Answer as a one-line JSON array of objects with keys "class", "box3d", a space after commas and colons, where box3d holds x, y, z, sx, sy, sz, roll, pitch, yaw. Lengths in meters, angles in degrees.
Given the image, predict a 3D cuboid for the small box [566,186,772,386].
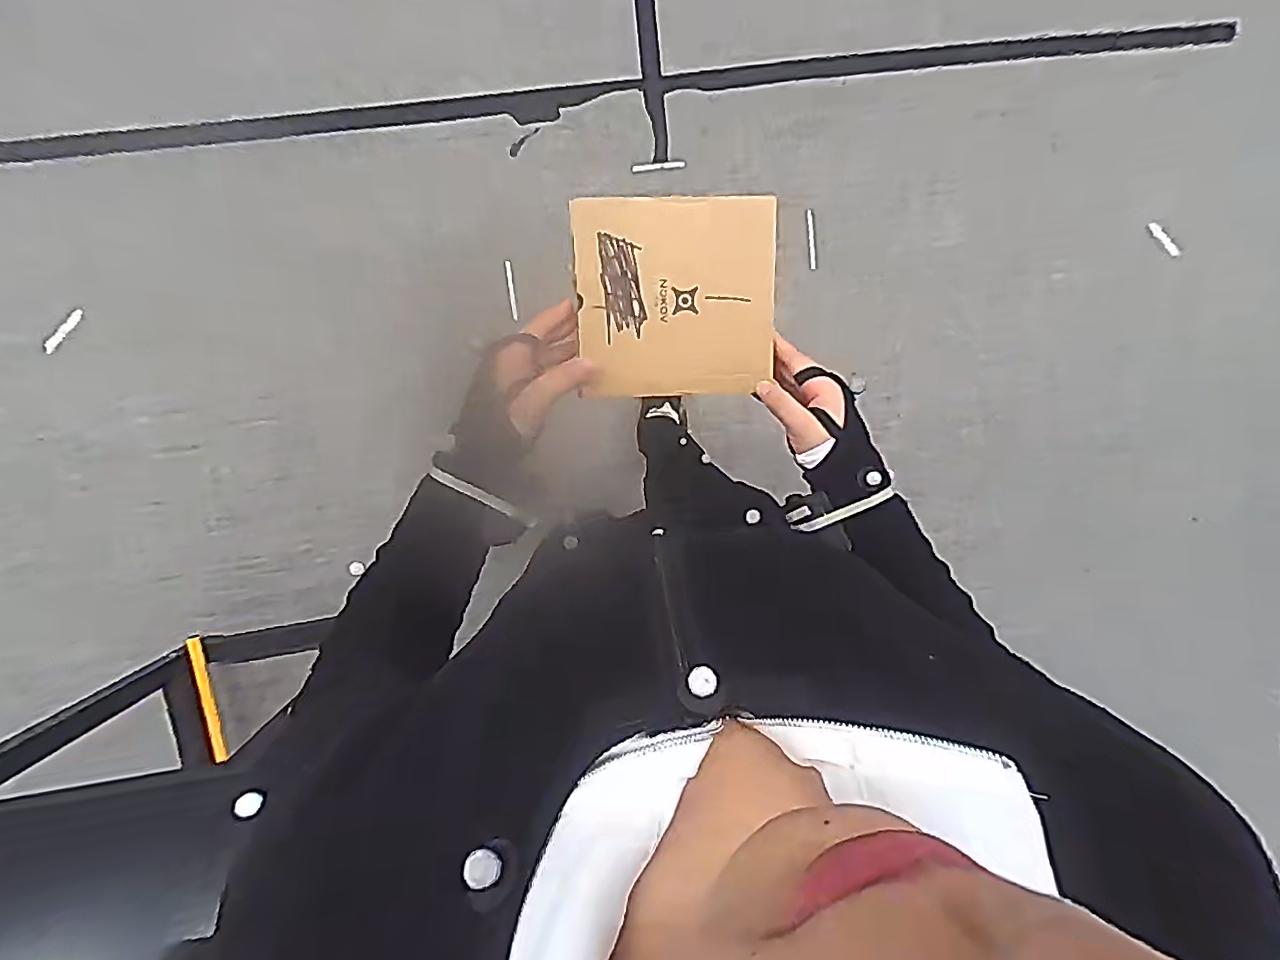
[{"class": "small box", "box3d": [0.024, -0.180, 0.546, 0.179, 0.176, 0.168, -3, 102, -3]}]
